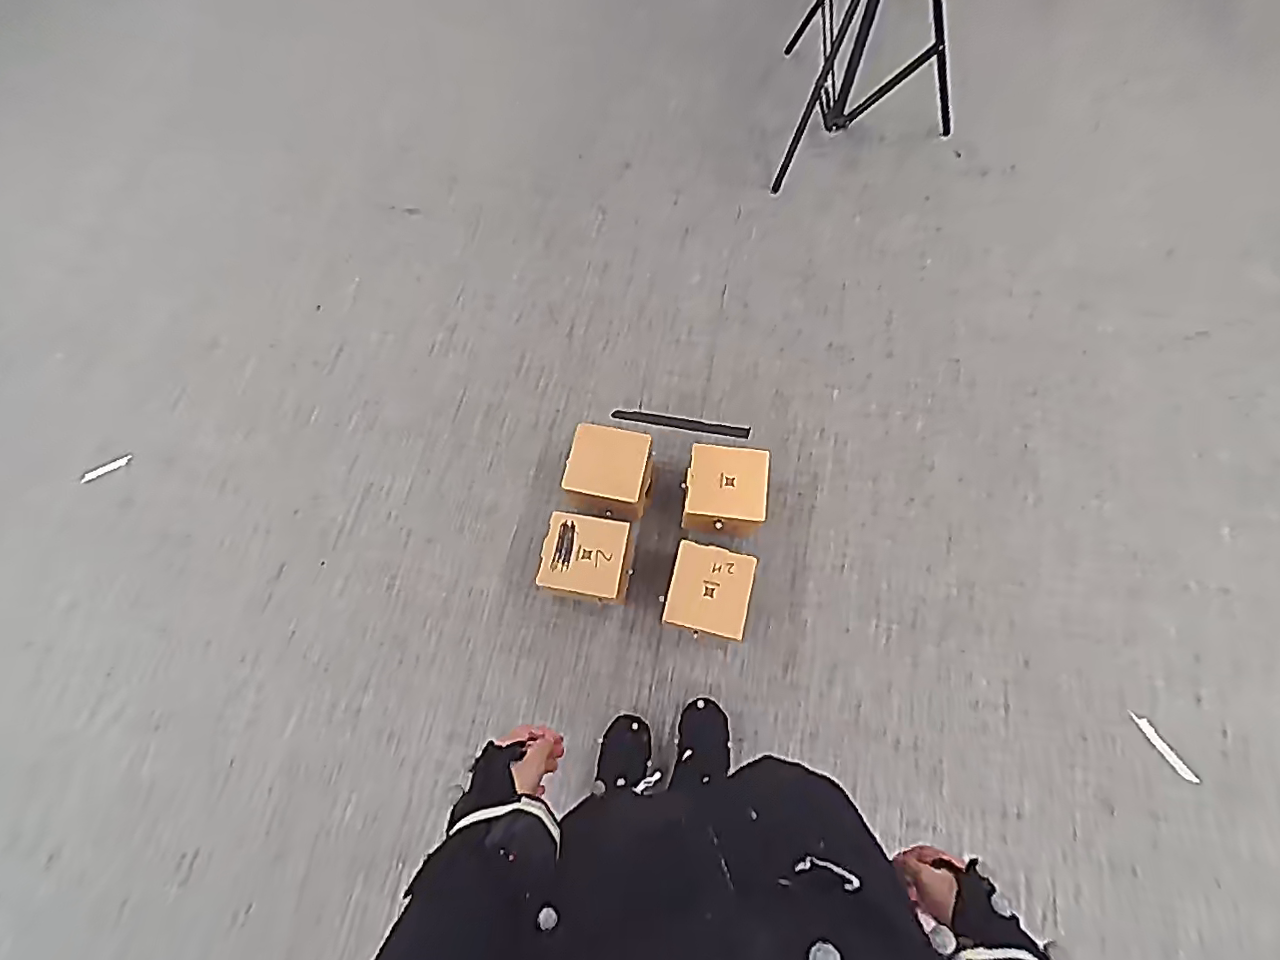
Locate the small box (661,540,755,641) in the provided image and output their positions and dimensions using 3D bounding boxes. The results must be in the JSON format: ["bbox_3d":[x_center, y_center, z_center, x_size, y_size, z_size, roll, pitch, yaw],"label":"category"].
[{"bbox_3d":[0.147,0.250,1.195,0.168,0.176,0.179,14,73,6],"label":"small box"}]

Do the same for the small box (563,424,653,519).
[{"bbox_3d":[-0.071,-0.017,1.291,0.179,0.176,0.168,11,72,6],"label":"small box"}]
